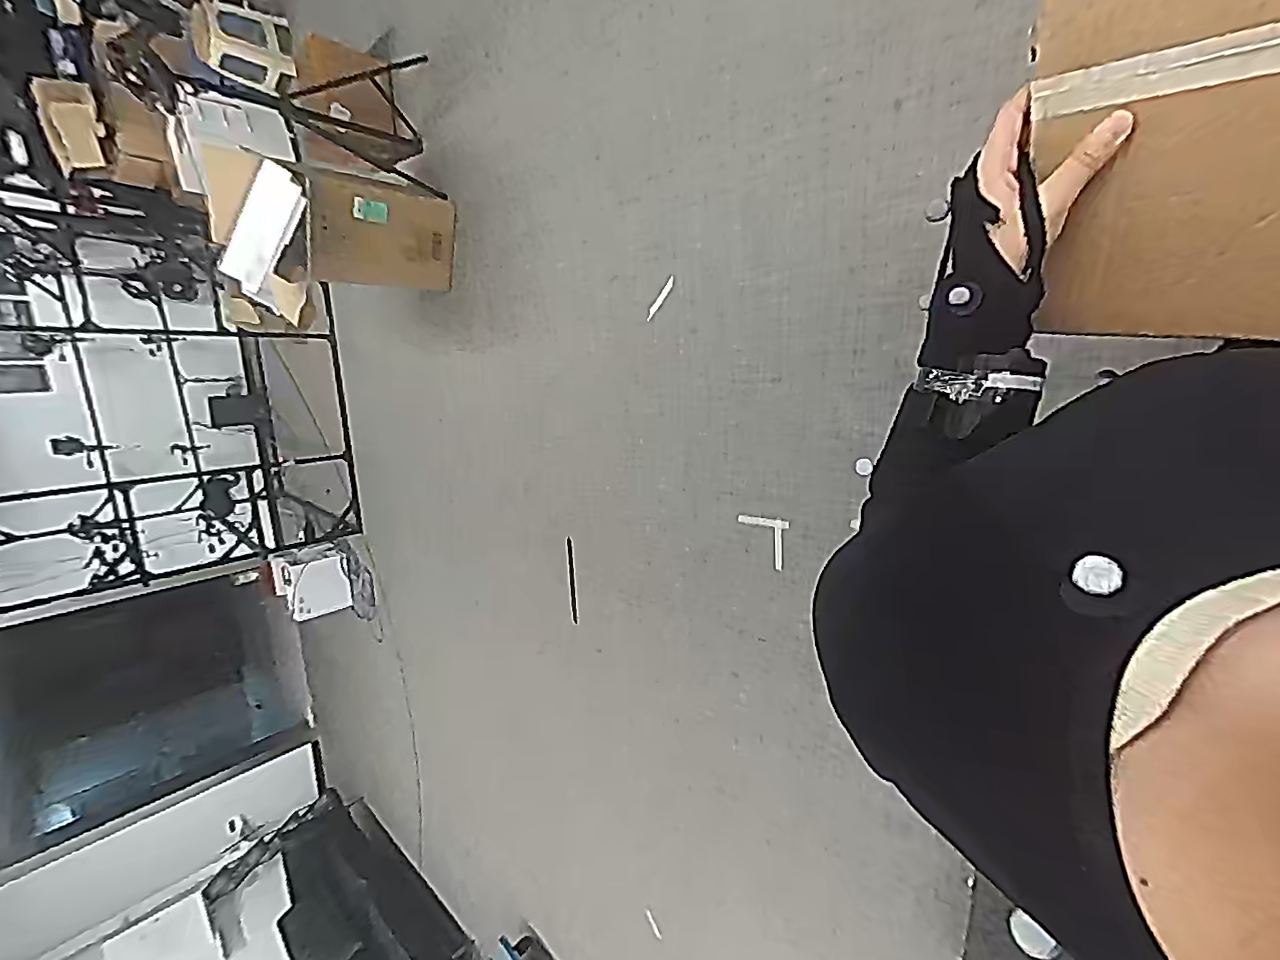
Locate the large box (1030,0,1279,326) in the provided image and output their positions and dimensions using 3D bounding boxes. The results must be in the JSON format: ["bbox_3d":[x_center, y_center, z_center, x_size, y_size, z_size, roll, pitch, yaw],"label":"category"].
[{"bbox_3d":[0.485,-0.292,0.277,0.408,0.320,0.320,15,139,43],"label":"large box"}]
